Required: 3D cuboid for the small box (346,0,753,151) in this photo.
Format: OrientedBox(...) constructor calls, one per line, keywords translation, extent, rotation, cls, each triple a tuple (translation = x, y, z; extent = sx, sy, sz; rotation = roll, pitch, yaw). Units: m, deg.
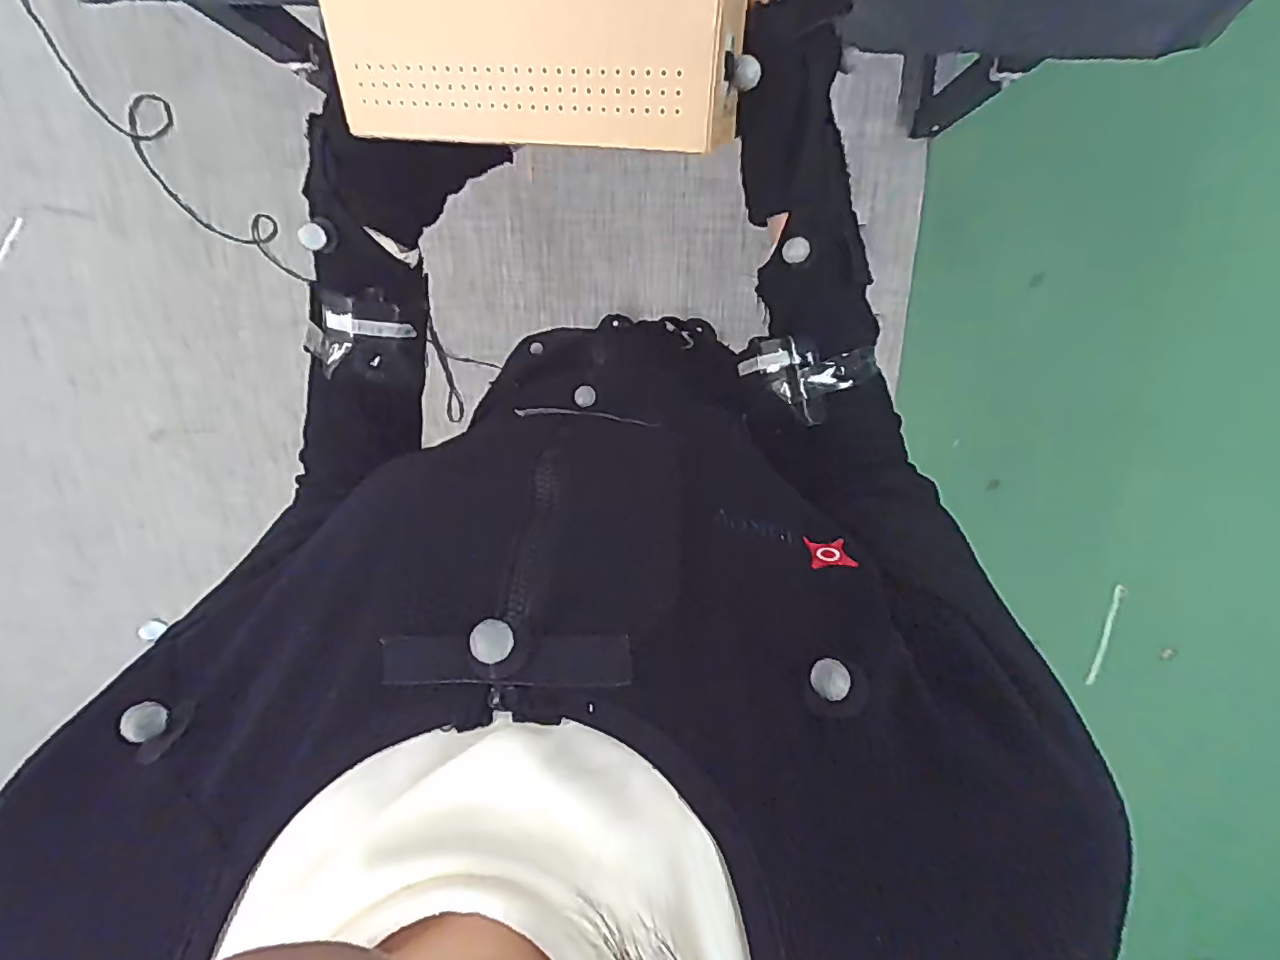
OrientedBox(translation=(-0.032, -0.272, 0.275), extent=(0.179, 0.168, 0.176), rotation=(9, 126, 10), cls="small box")
